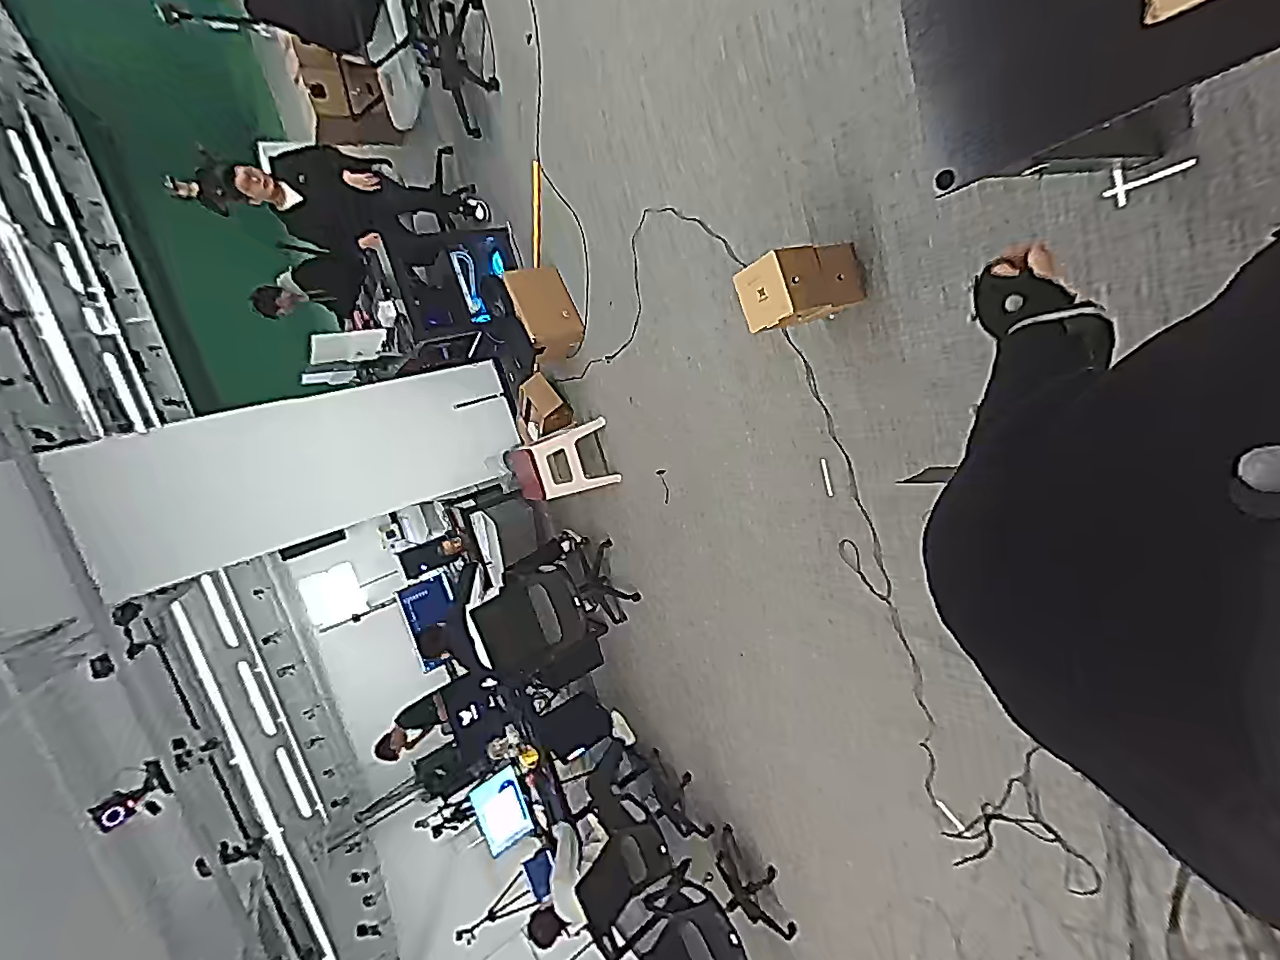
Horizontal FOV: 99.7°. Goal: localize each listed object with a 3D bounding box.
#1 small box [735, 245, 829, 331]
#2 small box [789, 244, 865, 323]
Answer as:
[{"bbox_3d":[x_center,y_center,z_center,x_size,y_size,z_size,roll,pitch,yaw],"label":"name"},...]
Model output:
[{"bbox_3d":[0.402,-0.540,1.519,0.168,0.176,0.179,-14,95,58],"label":"small box"},{"bbox_3d":[0.535,-0.584,1.602,0.168,0.176,0.179,-7,102,58],"label":"small box"}]
